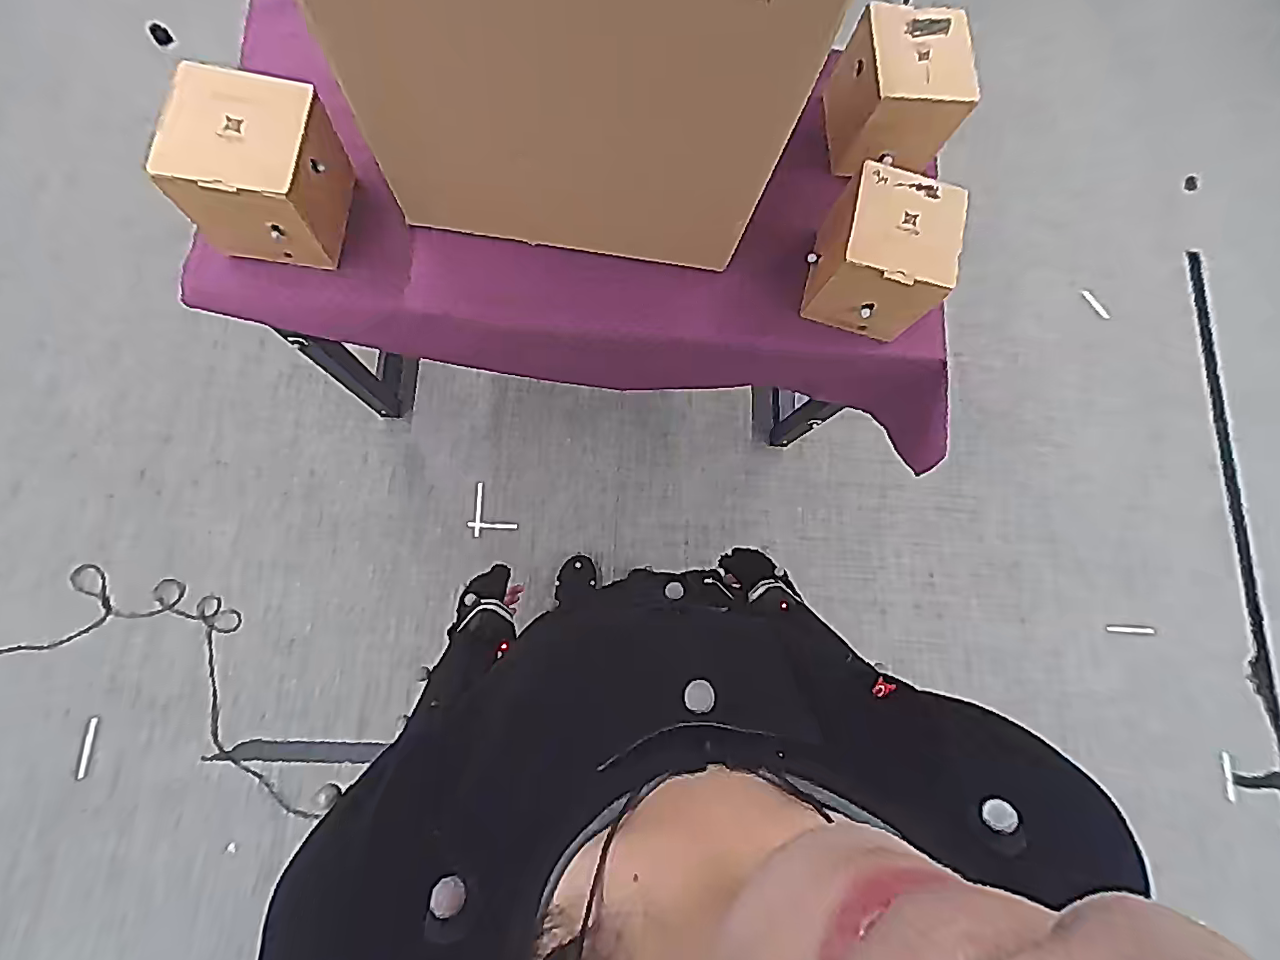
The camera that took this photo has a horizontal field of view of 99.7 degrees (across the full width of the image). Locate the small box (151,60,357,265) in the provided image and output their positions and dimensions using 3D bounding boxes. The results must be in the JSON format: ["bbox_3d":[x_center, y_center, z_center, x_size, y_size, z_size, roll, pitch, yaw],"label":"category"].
[{"bbox_3d":[-0.527,-0.435,0.769,0.168,0.176,0.179,6,76,-8],"label":"small box"}]
